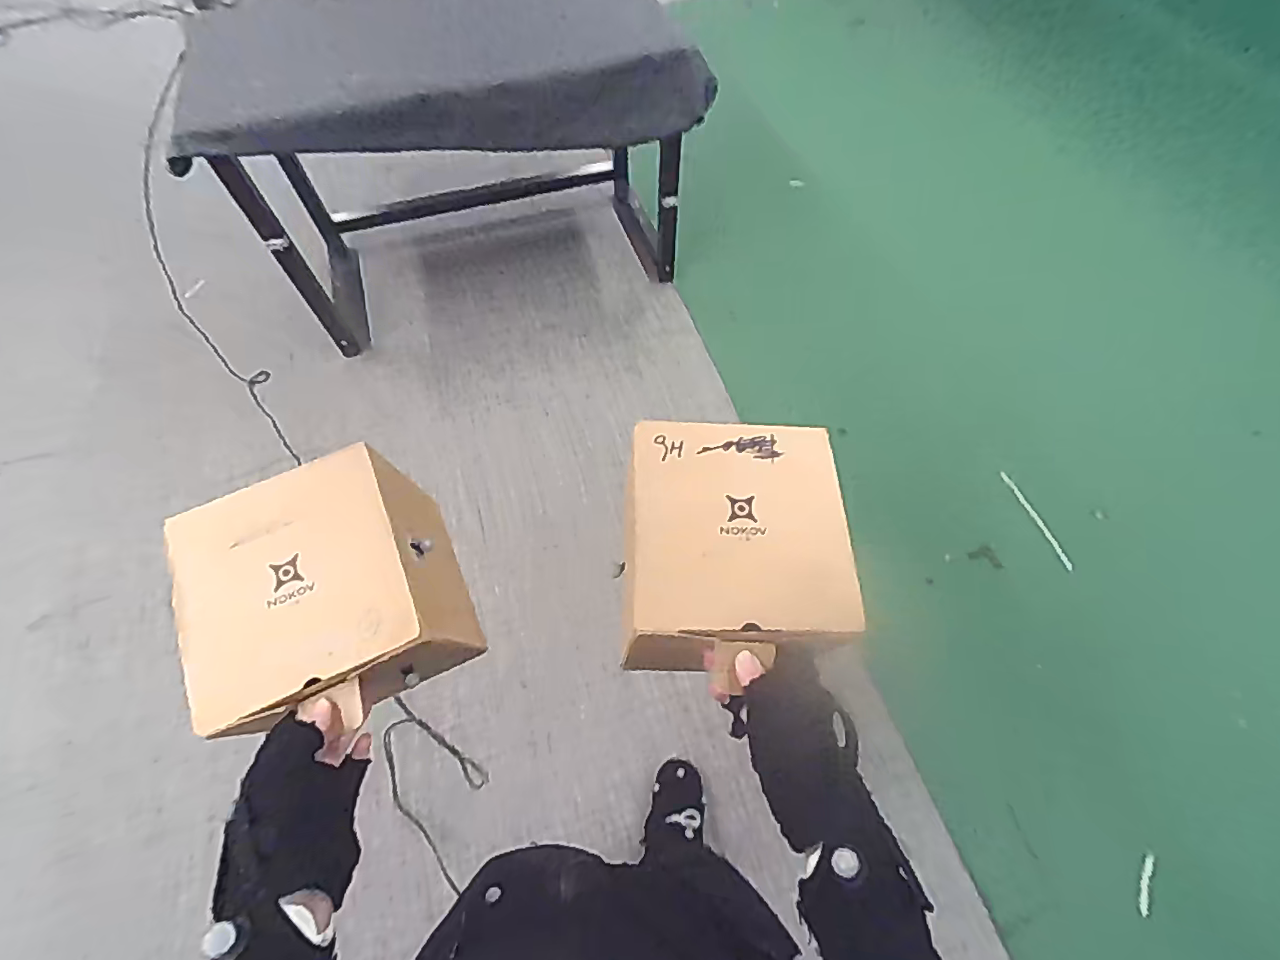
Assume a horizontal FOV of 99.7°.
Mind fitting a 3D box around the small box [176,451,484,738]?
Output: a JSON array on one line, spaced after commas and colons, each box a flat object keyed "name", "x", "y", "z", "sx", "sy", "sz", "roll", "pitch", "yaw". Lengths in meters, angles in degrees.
[{"name": "small box", "x": -0.264, "y": 0.107, "z": 0.496, "sx": 0.168, "sy": 0.176, "sz": 0.179, "roll": -25, "pitch": 70, "yaw": -8}]
